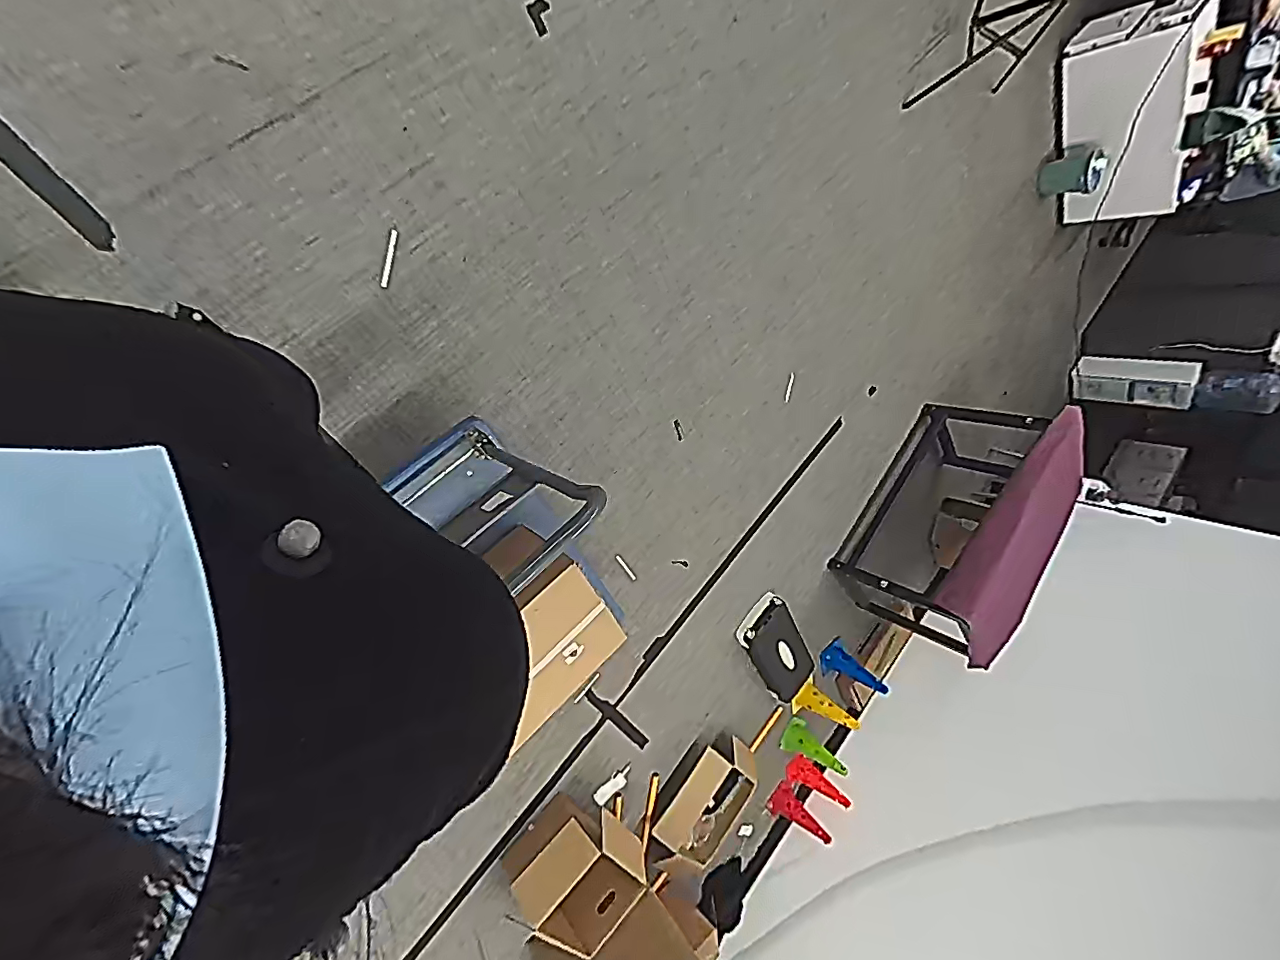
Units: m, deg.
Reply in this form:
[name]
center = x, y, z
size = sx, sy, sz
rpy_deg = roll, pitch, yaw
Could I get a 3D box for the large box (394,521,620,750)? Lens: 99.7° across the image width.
[large box]
center = -0.337, 0.378, 1.390
size = 0.408, 0.320, 0.320
rpy_deg = -42, 127, -22
